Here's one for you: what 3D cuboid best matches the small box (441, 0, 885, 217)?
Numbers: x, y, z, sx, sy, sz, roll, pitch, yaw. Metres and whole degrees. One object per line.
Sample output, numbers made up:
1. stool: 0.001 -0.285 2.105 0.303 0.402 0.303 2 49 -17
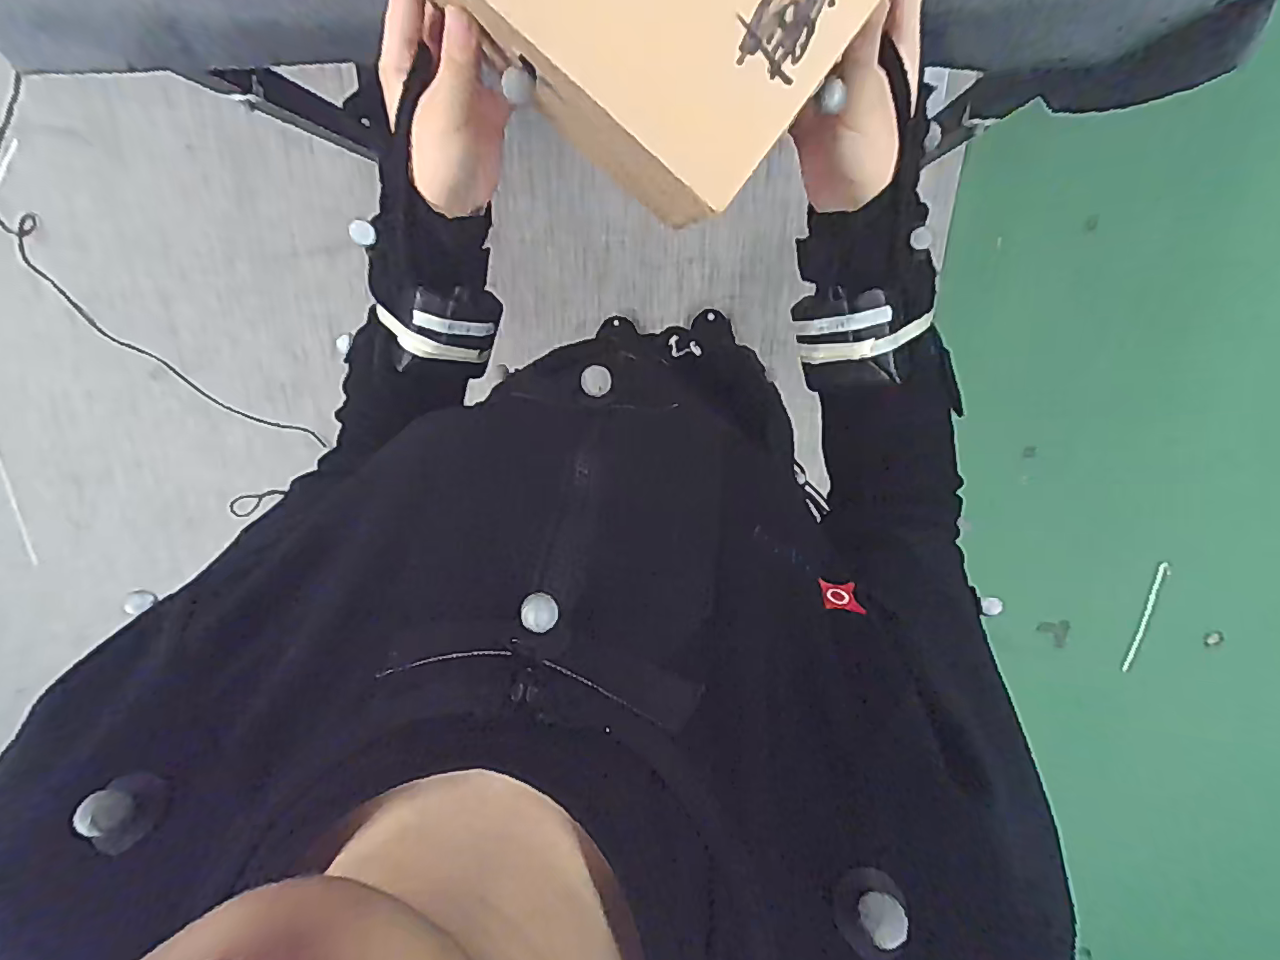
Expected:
1. small box: 0.012 -0.243 0.244 0.179 0.176 0.168 35 107 -15
